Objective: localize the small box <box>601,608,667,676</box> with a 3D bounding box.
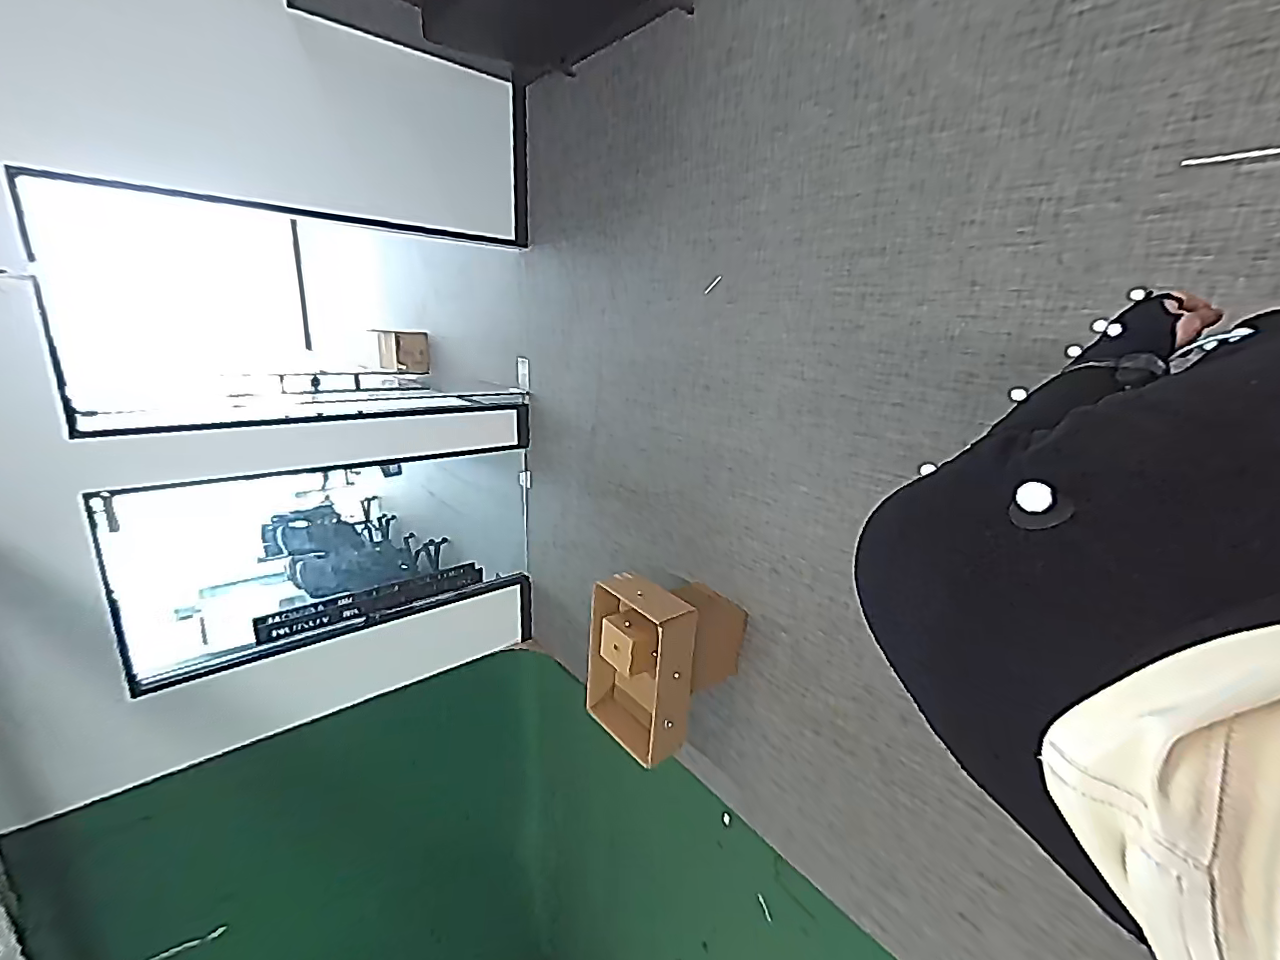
[{"bbox_3d":[-0.023,0.601,2.037,0.179,0.176,0.168,23,114,45],"label":"small box"}]
